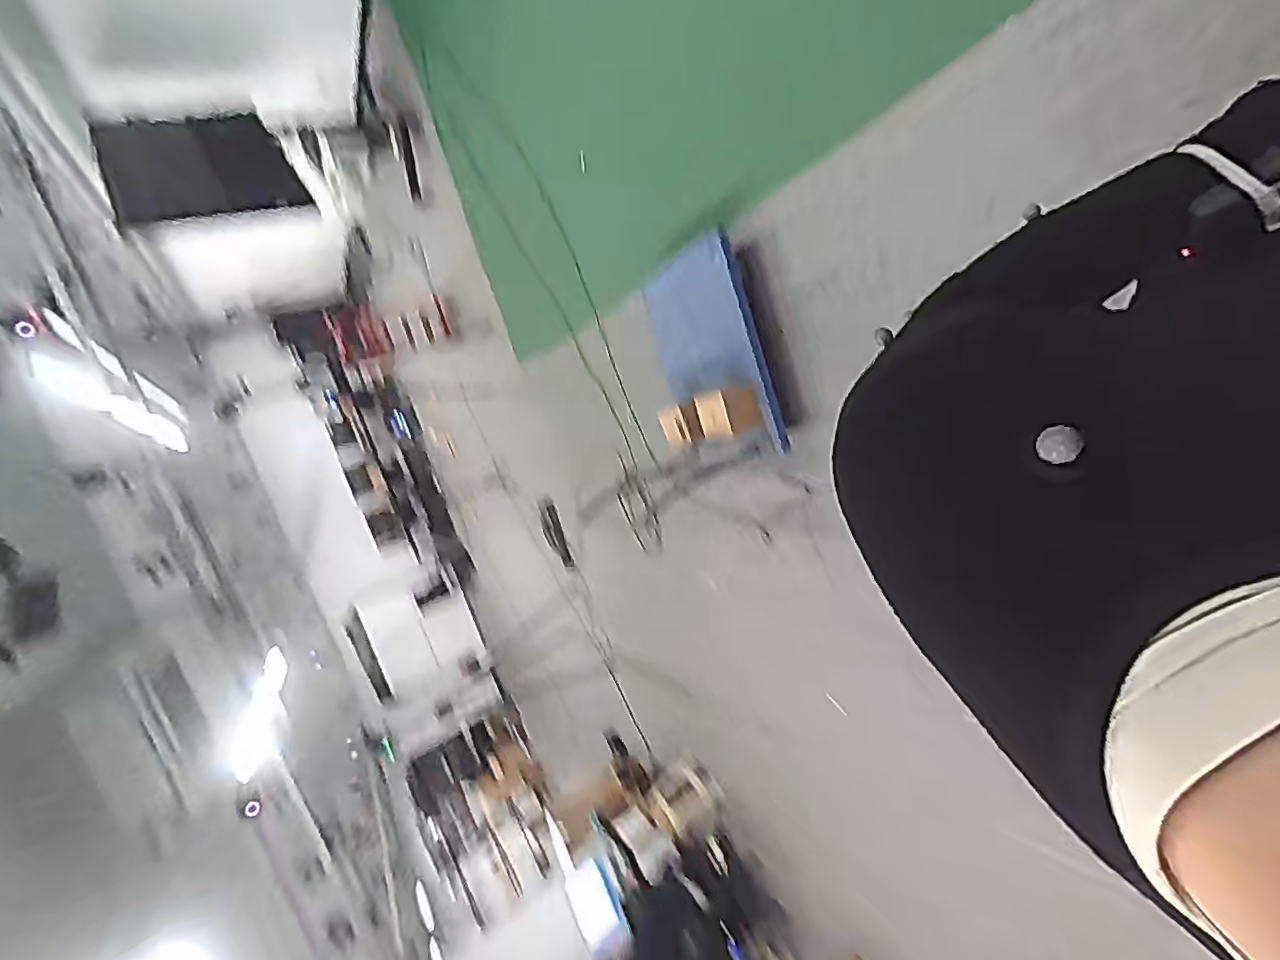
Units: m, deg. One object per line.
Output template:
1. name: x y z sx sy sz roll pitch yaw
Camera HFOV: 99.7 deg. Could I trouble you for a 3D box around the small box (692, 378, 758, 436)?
1. small box: 0.332 -0.282 2.091 0.168 0.176 0.179 1 111 58
